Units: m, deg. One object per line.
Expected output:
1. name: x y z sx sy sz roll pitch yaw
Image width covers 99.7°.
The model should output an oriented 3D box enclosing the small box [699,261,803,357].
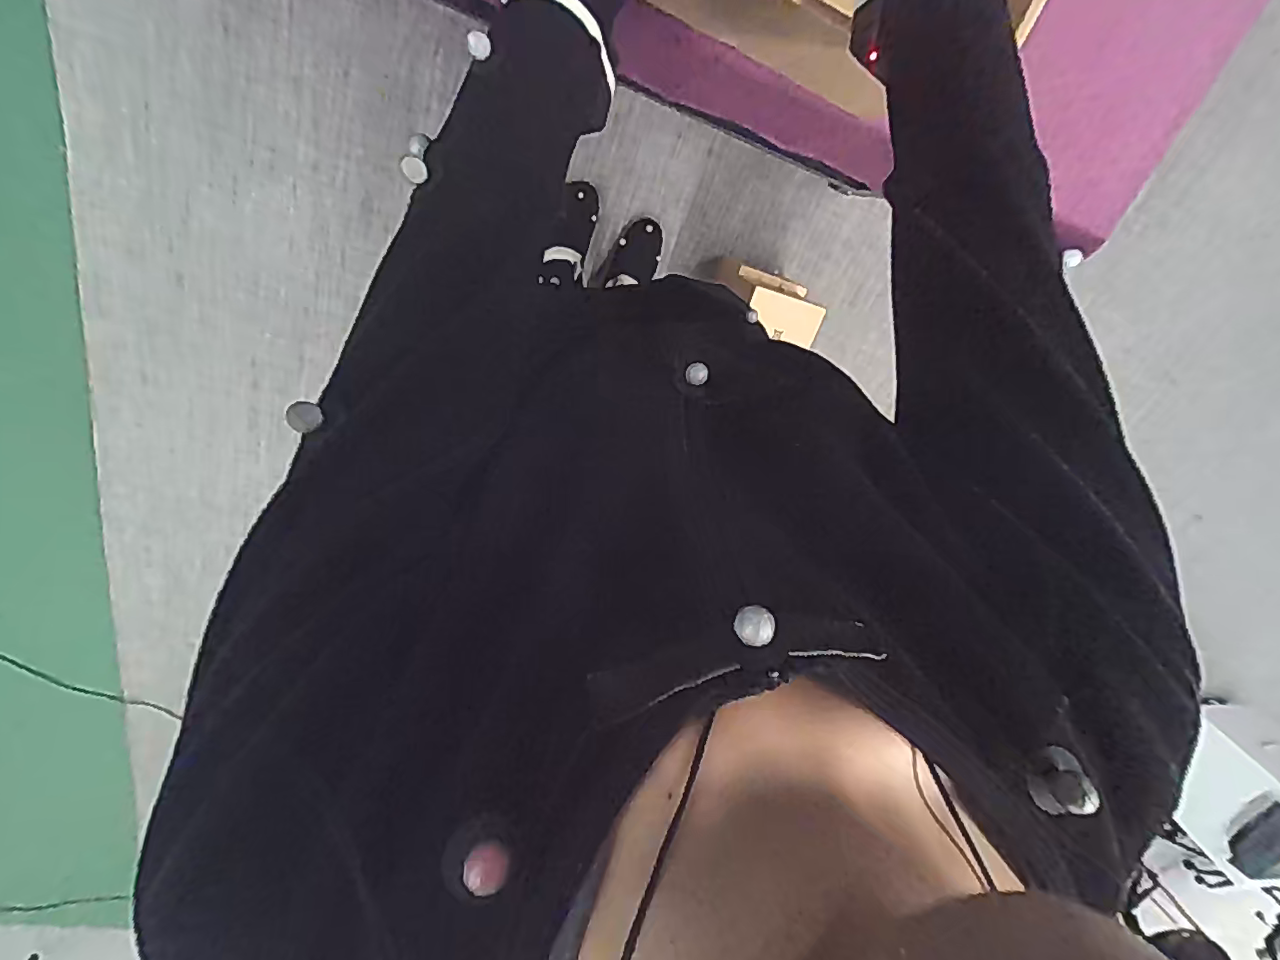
1. small box: 0.266 -0.429 1.338 0.179 0.176 0.168 14 117 -14
